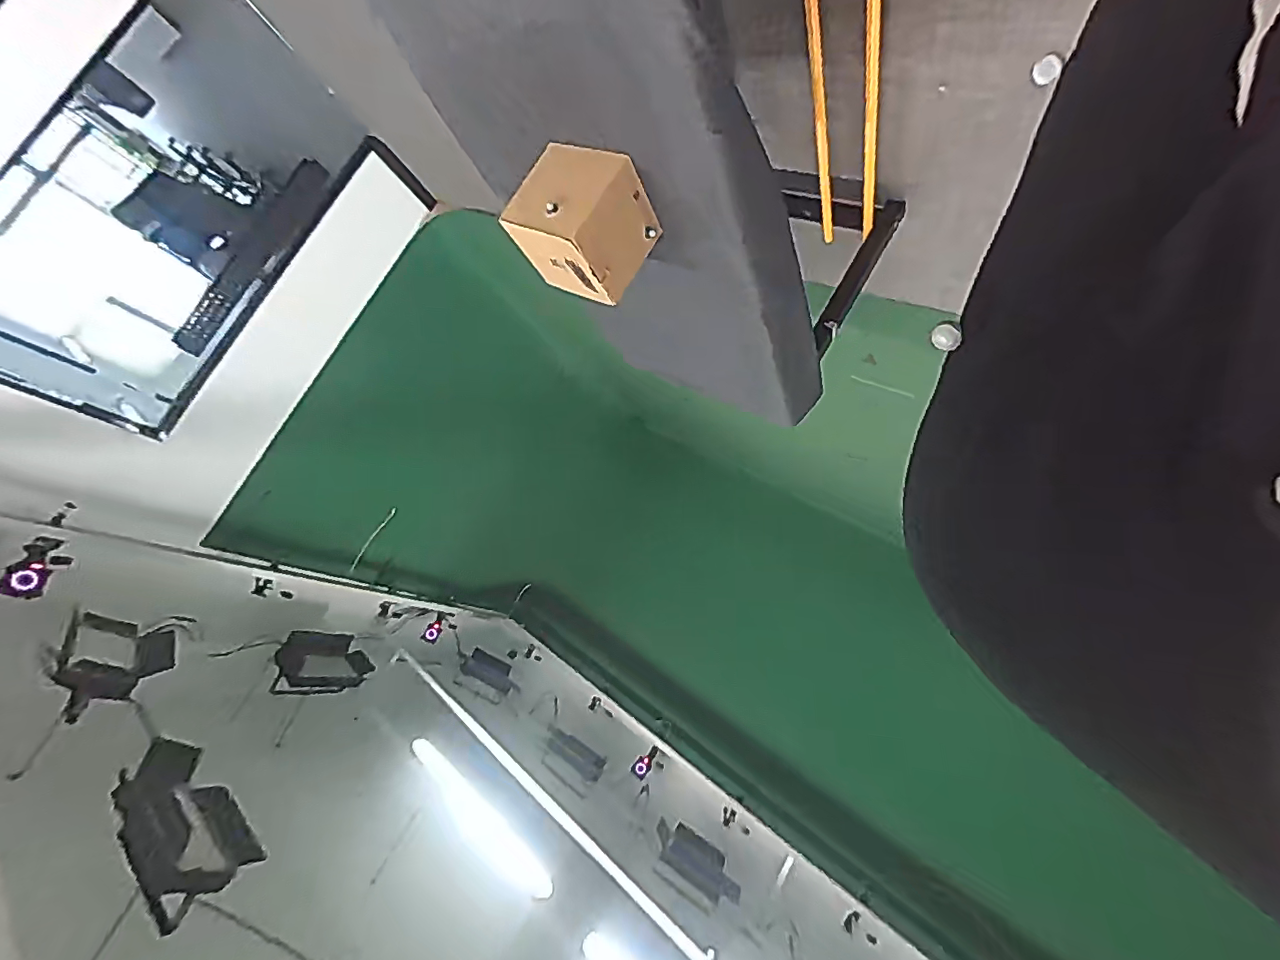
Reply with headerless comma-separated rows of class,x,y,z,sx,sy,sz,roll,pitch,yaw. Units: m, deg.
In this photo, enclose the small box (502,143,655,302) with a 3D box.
small box,-0.094,-0.445,0.934,0.179,0.176,0.168,29,173,28
